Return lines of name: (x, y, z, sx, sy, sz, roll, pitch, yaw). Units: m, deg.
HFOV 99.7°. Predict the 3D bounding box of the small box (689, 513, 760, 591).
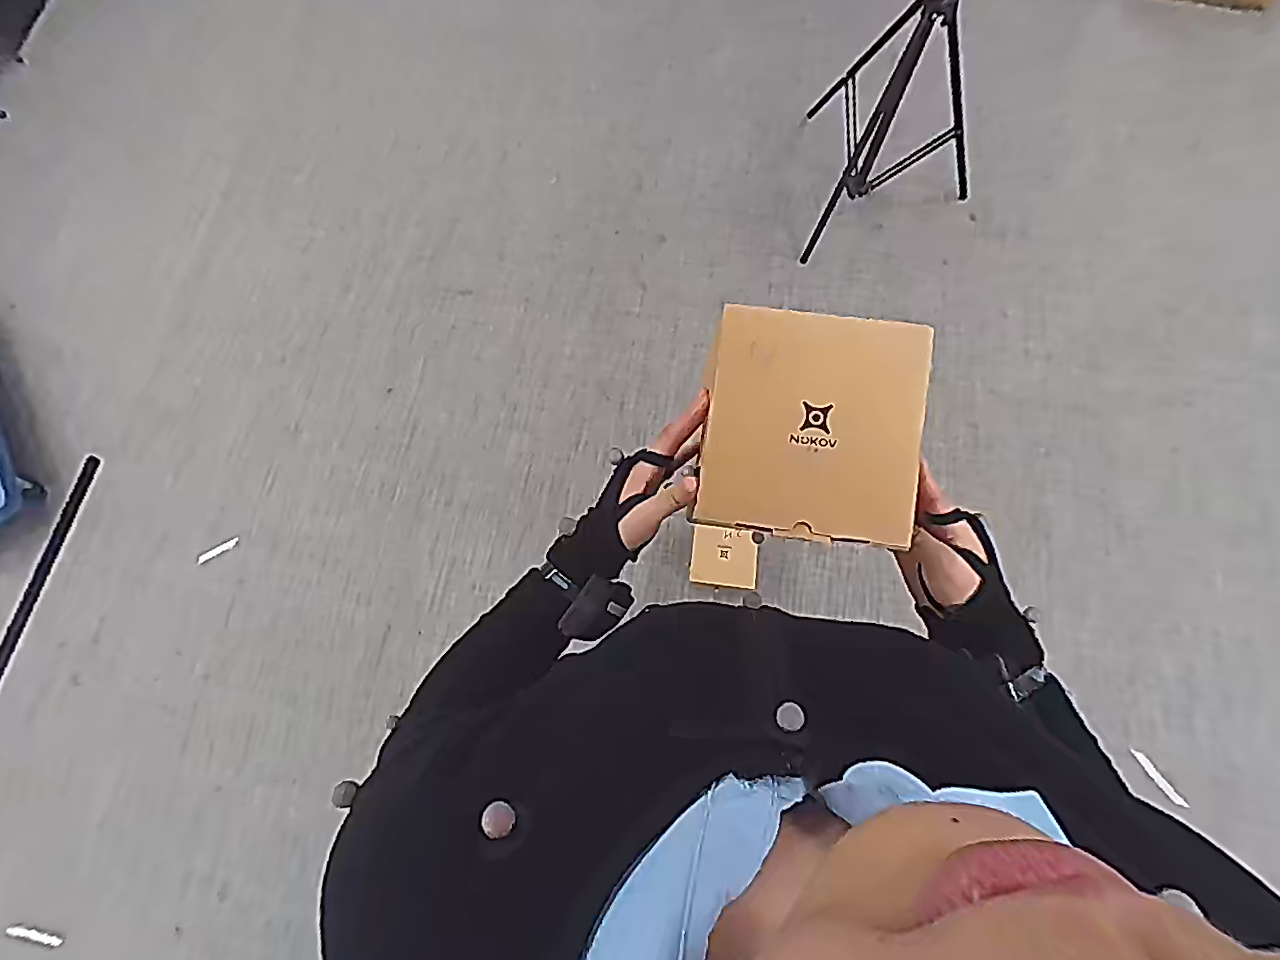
small box: (0.221, 0.197, 1.443, 0.168, 0.176, 0.179, 7, 75, 5)
